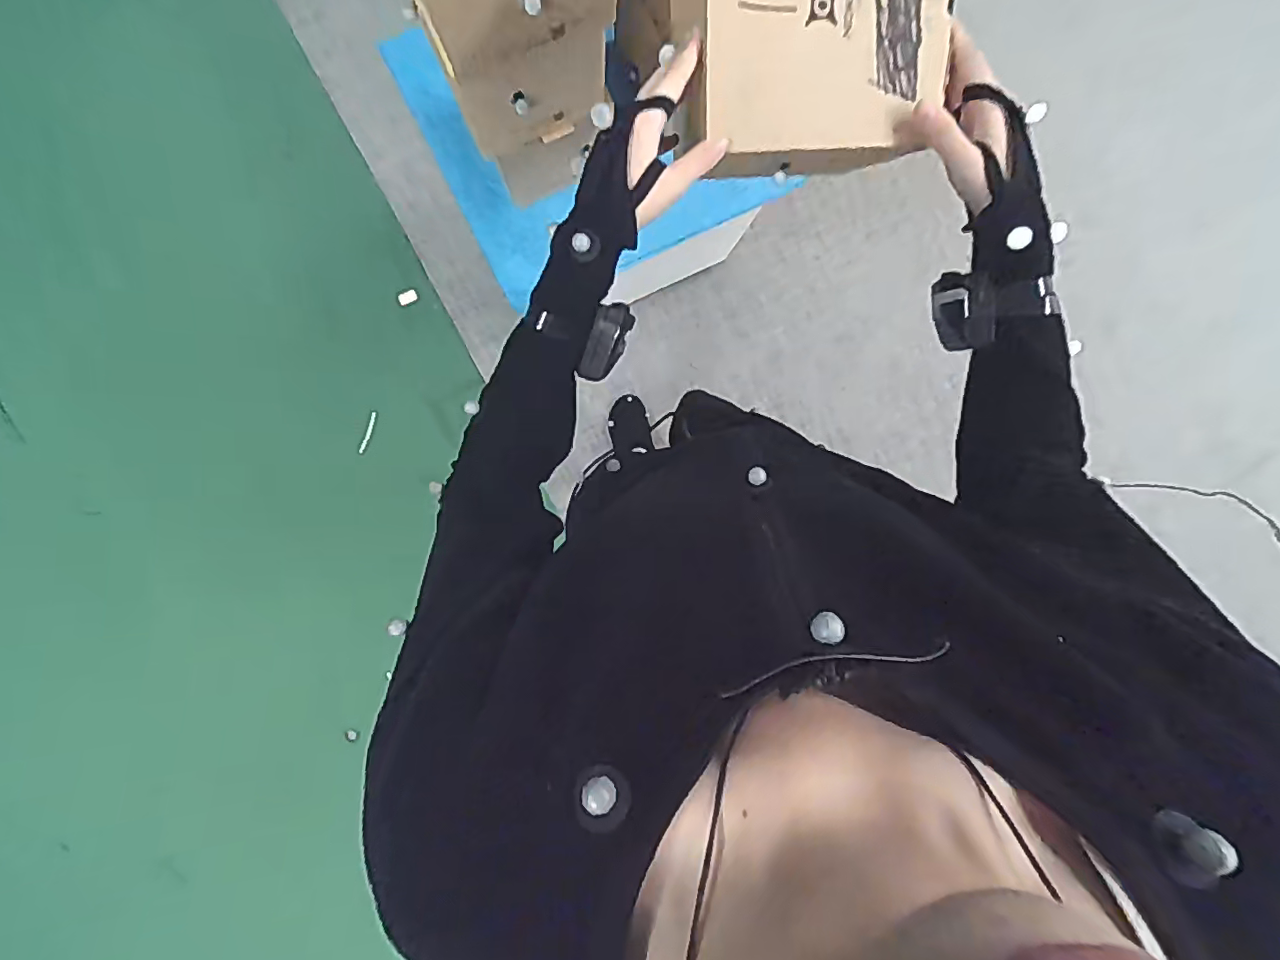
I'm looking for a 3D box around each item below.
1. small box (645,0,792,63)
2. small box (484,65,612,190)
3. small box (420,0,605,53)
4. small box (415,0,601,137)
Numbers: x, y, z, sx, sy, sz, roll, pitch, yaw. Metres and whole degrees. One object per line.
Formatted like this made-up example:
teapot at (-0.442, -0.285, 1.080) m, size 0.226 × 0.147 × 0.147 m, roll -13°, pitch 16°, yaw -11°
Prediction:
small box at (0.089, -0.609, 0.578) m, size 0.179 × 0.176 × 0.168 m, roll -27°, pitch 97°, yaw 1°
small box at (-0.146, -0.529, 0.740) m, size 0.168 × 0.176 × 0.179 m, roll -25°, pitch 97°, yaw -2°
small box at (-0.126, -0.482, 0.418) m, size 0.168 × 0.176 × 0.179 m, roll -24°, pitch 97°, yaw -2°
small box at (-0.146, -0.507, 0.579) m, size 0.168 × 0.176 × 0.179 m, roll -24°, pitch 96°, yaw -1°
